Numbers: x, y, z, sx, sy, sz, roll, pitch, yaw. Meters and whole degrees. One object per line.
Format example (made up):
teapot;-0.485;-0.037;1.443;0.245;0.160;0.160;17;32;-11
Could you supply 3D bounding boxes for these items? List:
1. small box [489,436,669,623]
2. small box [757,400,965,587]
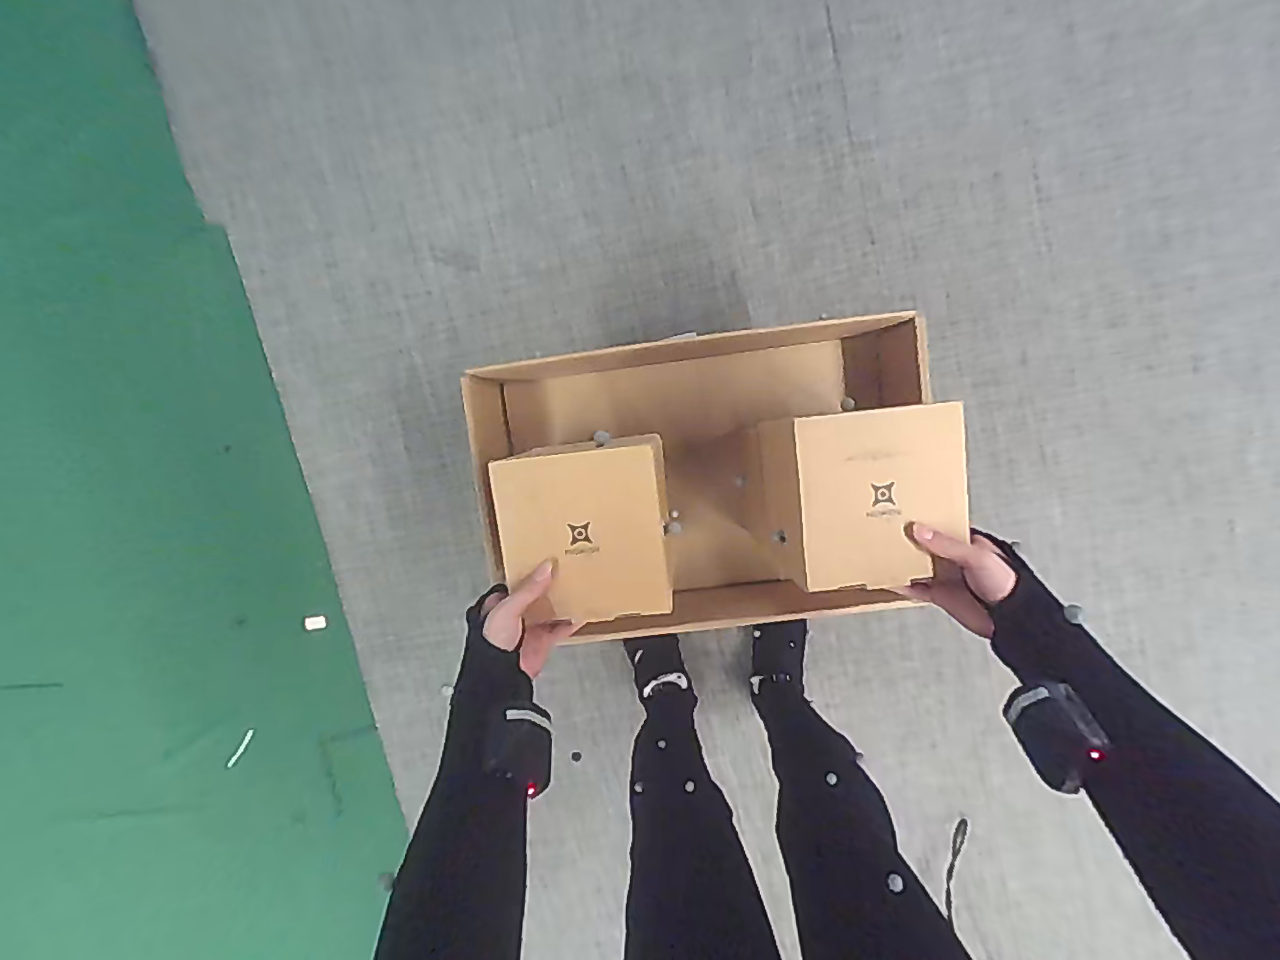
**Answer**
small box;-0.057;0.044;0.623;0.168;0.176;0.179;-7;98;5
small box;0.233;0.008;0.607;0.168;0.176;0.179;-5;94;1
